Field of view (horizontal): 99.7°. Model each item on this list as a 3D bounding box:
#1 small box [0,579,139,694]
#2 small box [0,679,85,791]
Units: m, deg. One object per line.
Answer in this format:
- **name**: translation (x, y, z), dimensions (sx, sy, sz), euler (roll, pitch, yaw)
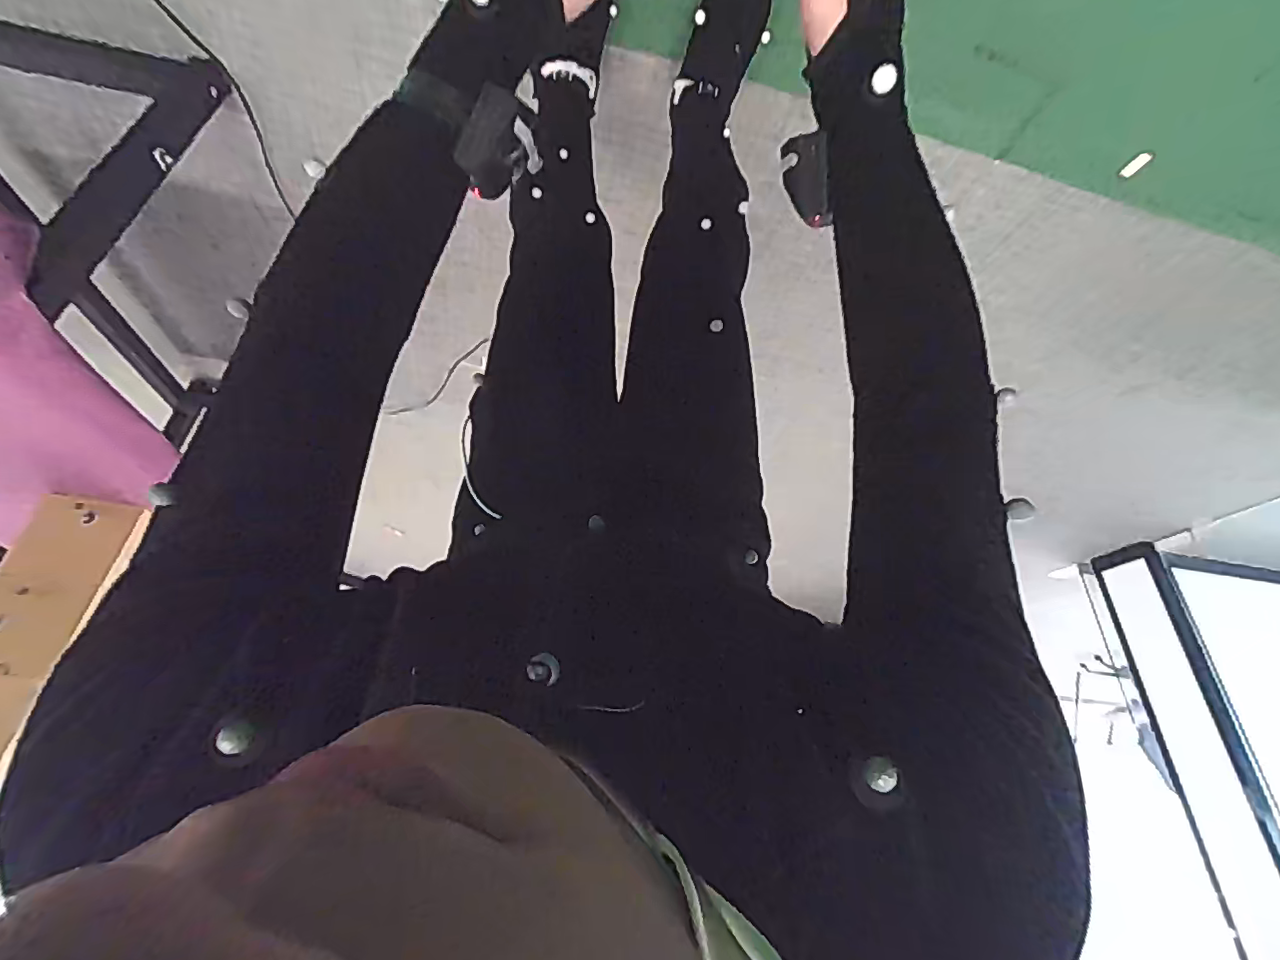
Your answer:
- **small box**: translation (-1.109, 0.295, 1.013), dimensions (0.168, 0.176, 0.179), euler (12, 149, -13)
- **small box**: translation (-1.125, 0.434, 0.930), dimensions (0.179, 0.176, 0.168), euler (11, 148, -13)
